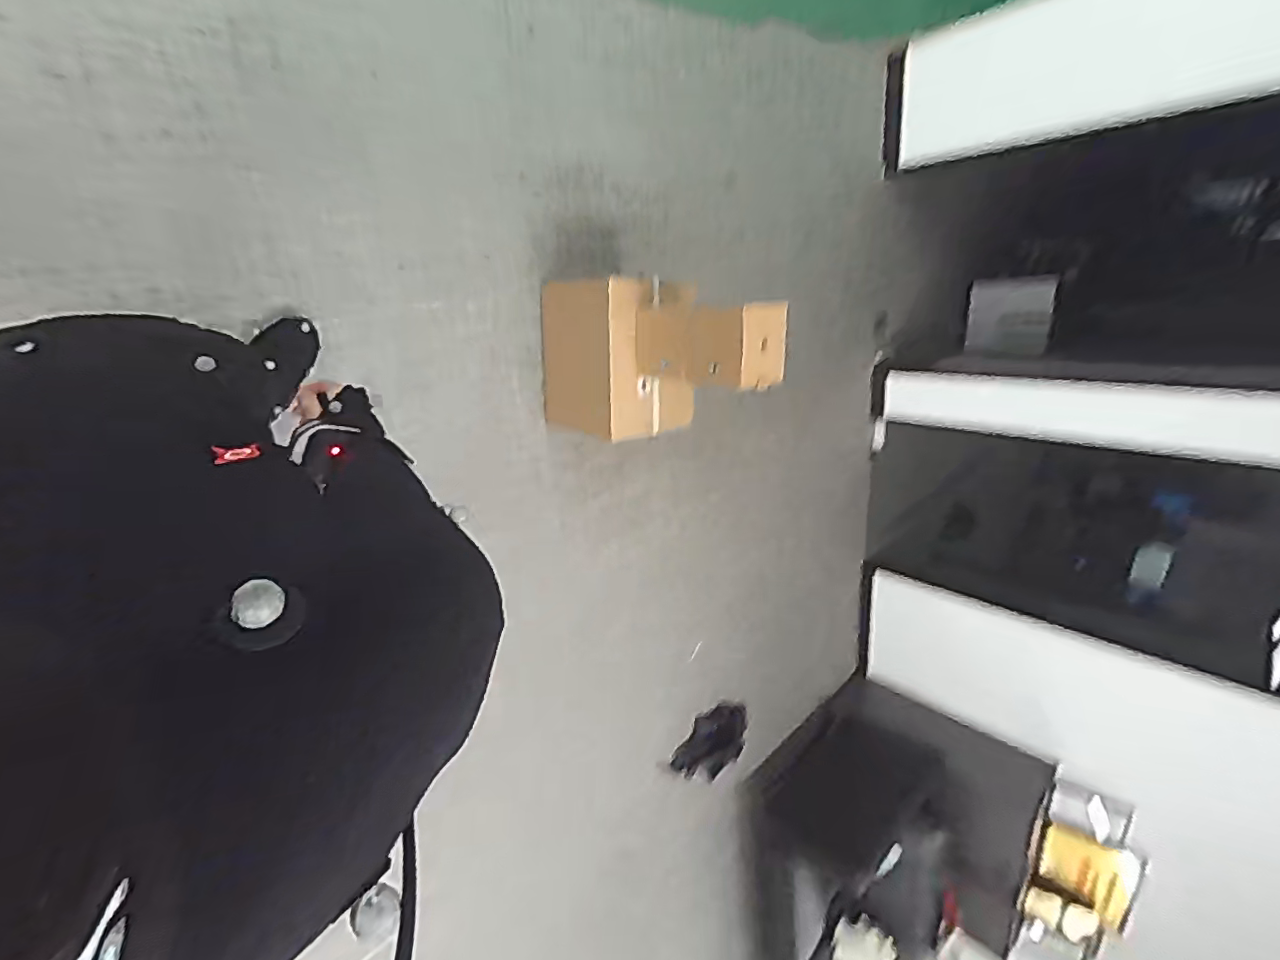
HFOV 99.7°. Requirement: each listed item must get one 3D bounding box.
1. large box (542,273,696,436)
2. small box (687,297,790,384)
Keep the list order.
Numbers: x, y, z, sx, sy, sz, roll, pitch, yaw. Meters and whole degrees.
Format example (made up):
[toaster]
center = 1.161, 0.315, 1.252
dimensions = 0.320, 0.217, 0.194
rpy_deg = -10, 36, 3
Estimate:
[large box]
center = -0.058, -0.367, 1.532
dimensions = 0.320, 0.320, 0.408
rpy_deg = -15, 113, -38
[small box]
center = 0.220, -0.324, 1.235
dimensions = 0.168, 0.176, 0.179
rpy_deg = -19, 115, -39
